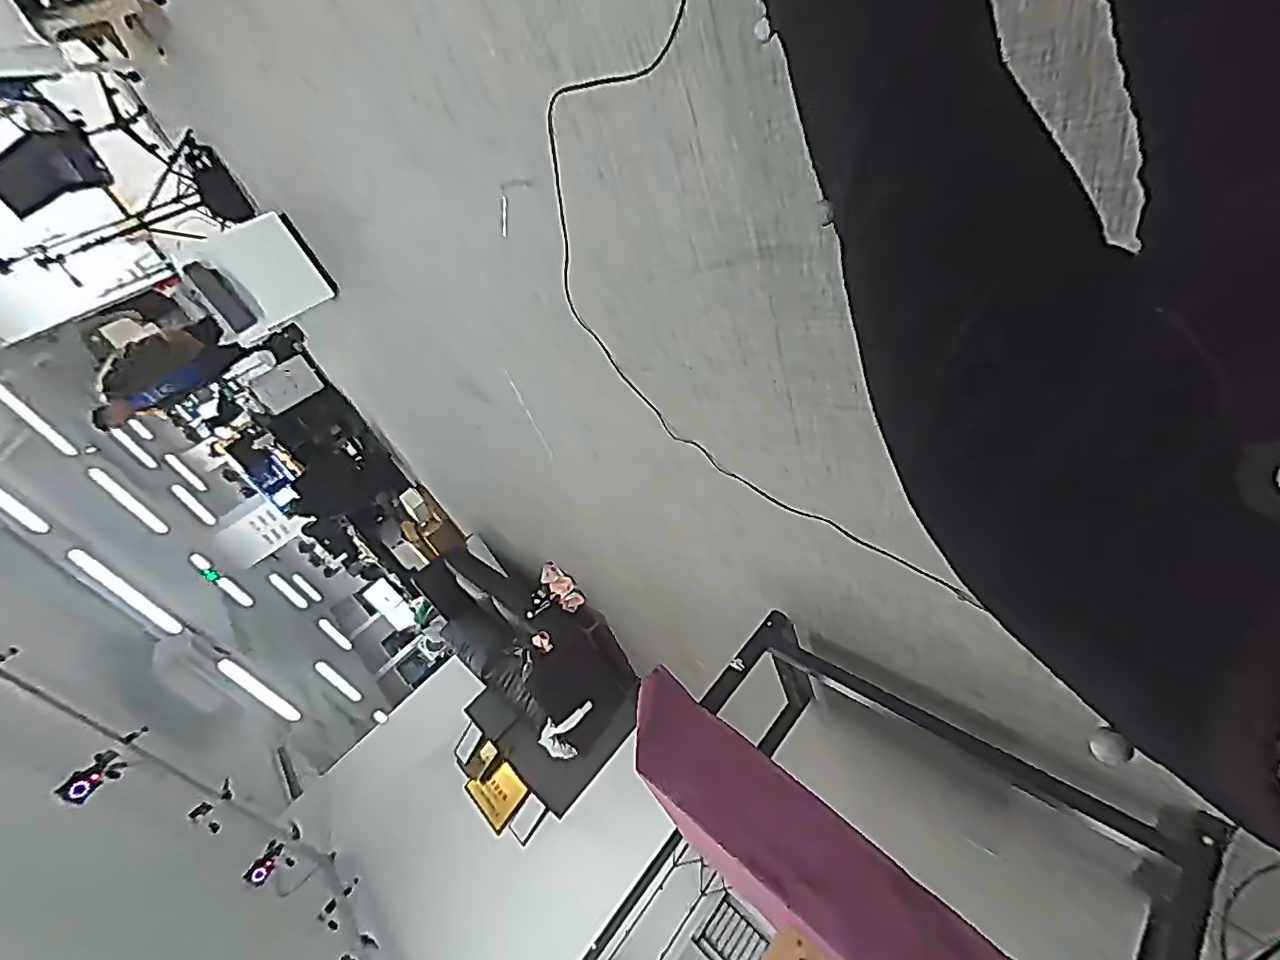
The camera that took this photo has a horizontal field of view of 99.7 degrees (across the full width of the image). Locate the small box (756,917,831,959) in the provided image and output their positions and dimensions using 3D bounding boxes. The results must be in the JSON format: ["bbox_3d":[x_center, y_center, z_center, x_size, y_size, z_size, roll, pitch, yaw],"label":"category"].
[{"bbox_3d":[0.417,1.303,1.406,0.168,0.176,0.179,11,136,51],"label":"small box"}]
